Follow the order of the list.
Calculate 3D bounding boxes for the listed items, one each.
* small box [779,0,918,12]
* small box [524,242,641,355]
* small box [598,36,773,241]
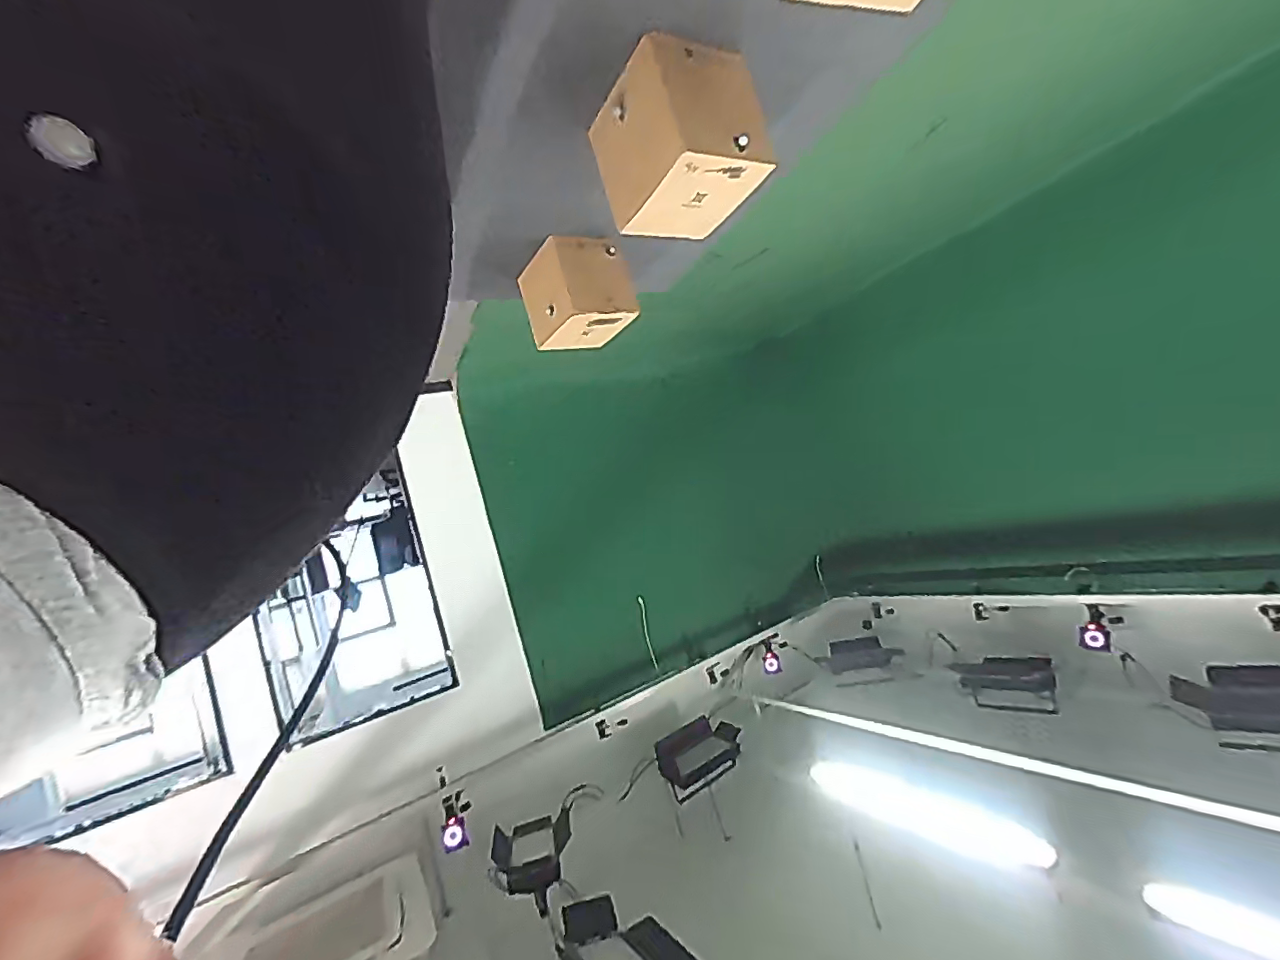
[{"bbox_3d":[0.195,-0.534,0.434,0.179,0.176,0.168,-18,179,-21],"label":"small box"},{"bbox_3d":[-0.129,-0.384,1.152,0.168,0.176,0.179,-13,175,-36],"label":"small box"},{"bbox_3d":[0.055,-0.468,0.770,0.168,0.176,0.179,-14,176,-32],"label":"small box"}]
